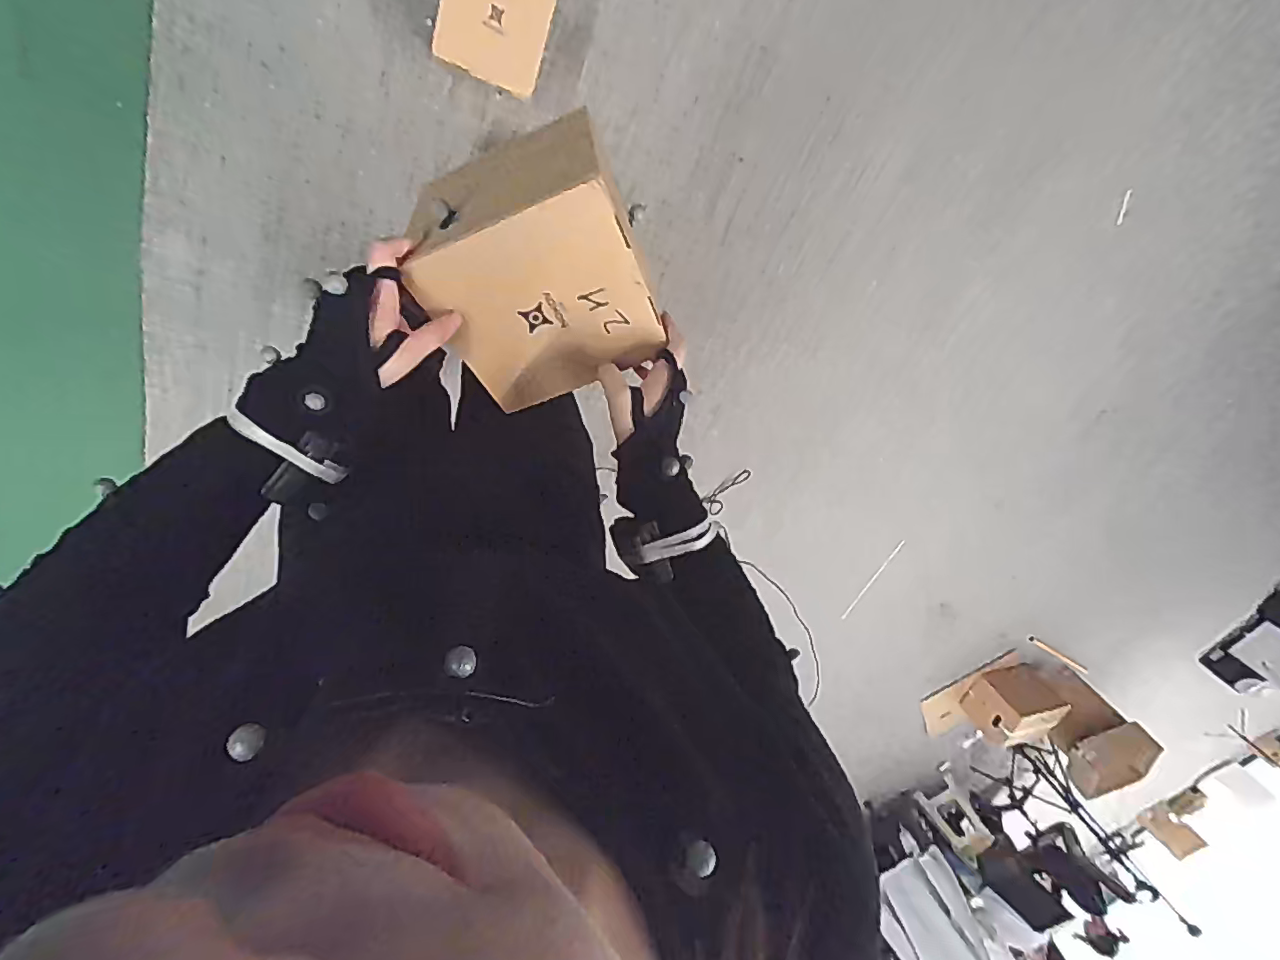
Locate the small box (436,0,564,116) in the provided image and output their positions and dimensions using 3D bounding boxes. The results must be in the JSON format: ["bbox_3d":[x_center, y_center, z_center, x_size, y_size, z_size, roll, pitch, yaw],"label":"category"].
[{"bbox_3d":[-0.249,-0.769,0.940,0.168,0.176,0.179,12,118,-28],"label":"small box"}]

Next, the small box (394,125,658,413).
[{"bbox_3d":[-0.097,-0.200,0.521,0.179,0.176,0.168,-19,138,11],"label":"small box"}]
